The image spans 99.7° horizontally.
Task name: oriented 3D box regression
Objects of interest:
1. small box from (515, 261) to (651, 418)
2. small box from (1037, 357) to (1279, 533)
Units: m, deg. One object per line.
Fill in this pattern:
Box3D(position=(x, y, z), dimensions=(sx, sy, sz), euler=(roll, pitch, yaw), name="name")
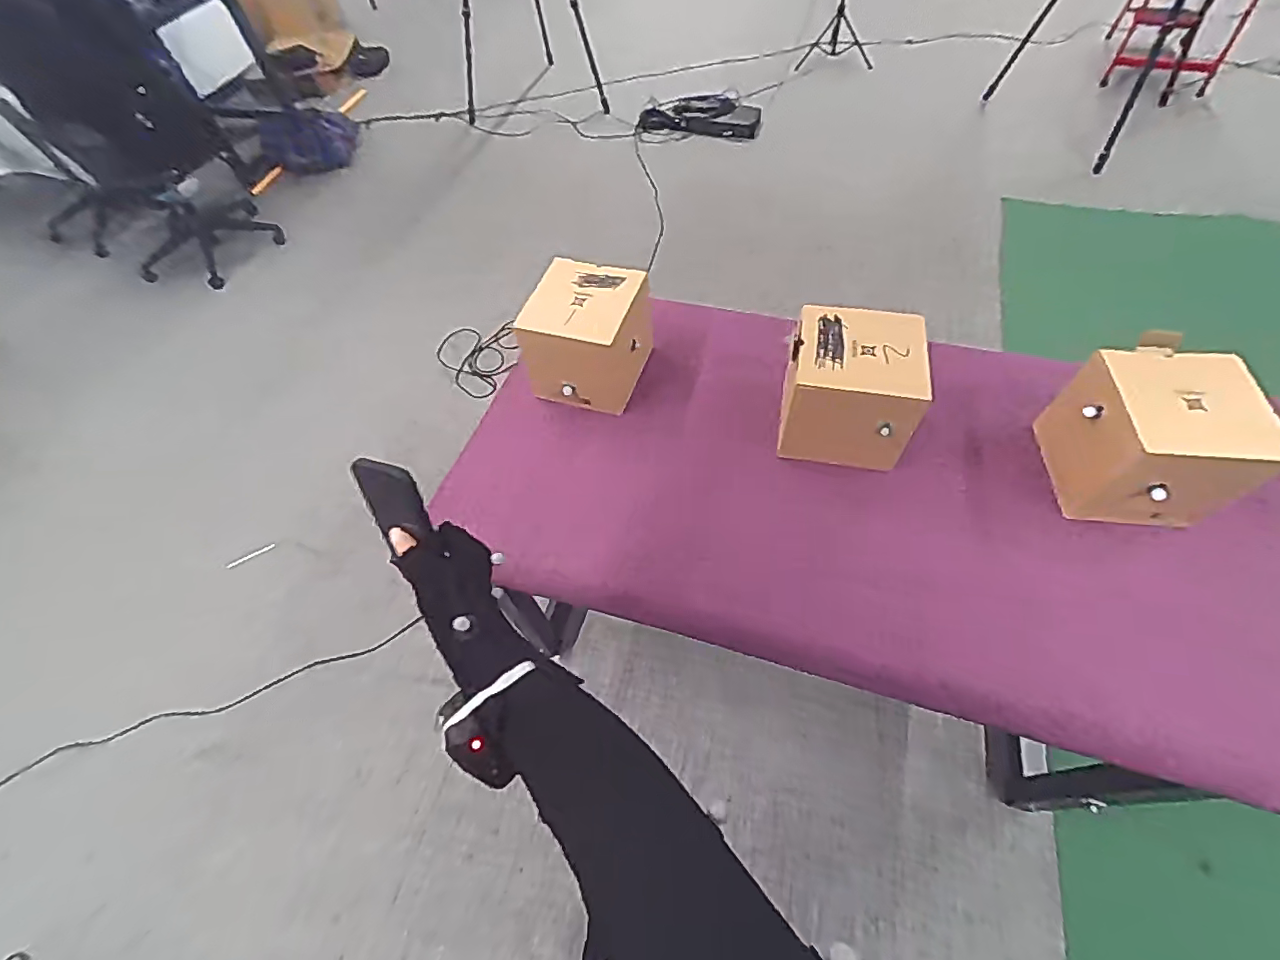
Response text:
Box3D(position=(-0.084, -0.236, 0.916), dimensions=(0.168, 0.176, 0.179), euler=(14, 60, 13), name="small box")
Box3D(position=(0.685, -0.043, 0.733), dimensions=(0.168, 0.176, 0.179), euler=(4, 56, 8), name="small box")
